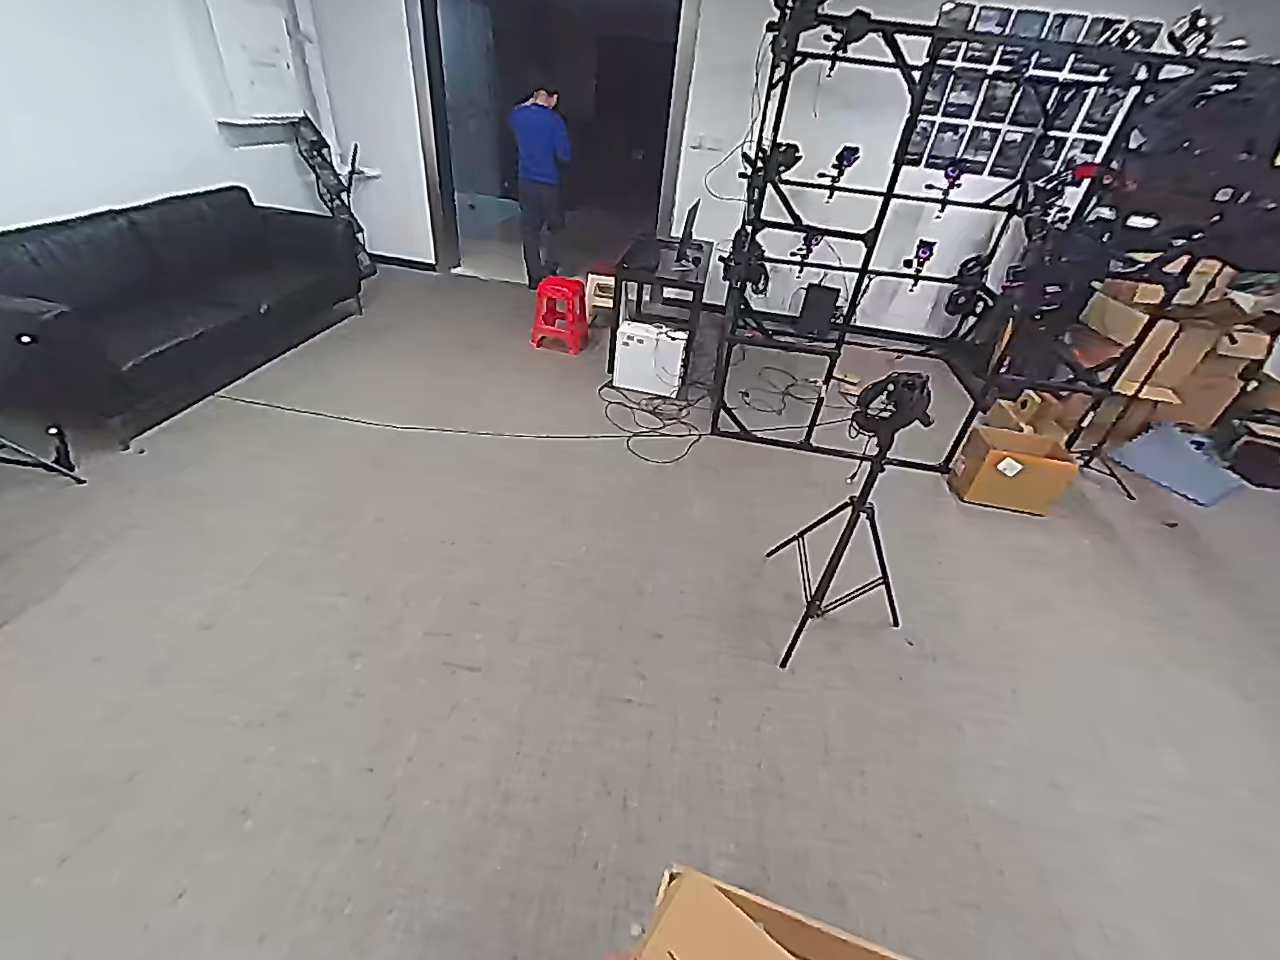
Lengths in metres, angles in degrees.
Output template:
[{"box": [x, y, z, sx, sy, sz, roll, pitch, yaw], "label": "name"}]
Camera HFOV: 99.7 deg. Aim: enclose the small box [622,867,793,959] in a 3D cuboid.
[{"box": [0.070, 0.591, 0.618, 0.179, 0.176, 0.168, 33, 52, 21], "label": "small box"}]
